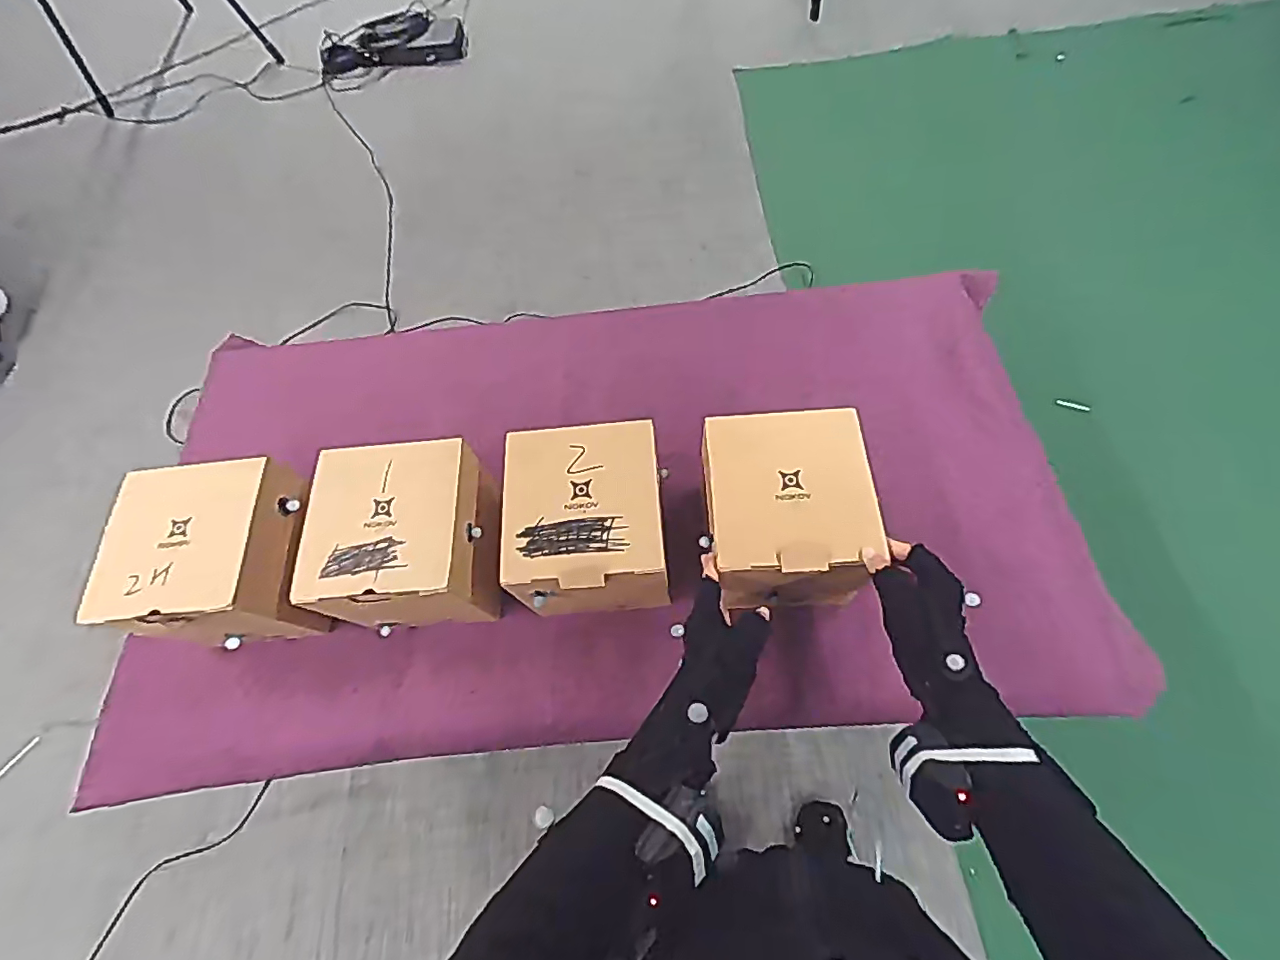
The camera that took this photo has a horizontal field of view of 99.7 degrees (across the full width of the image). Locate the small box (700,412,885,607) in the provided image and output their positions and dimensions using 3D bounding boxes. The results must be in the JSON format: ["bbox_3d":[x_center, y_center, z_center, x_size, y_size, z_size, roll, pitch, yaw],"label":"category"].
[{"bbox_3d":[0.159,0.041,0.632,0.168,0.176,0.179,-3,65,3],"label":"small box"}]

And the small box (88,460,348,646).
[{"bbox_3d":[-0.487,0.096,0.660,0.168,0.176,0.179,-6,65,2],"label":"small box"}]
